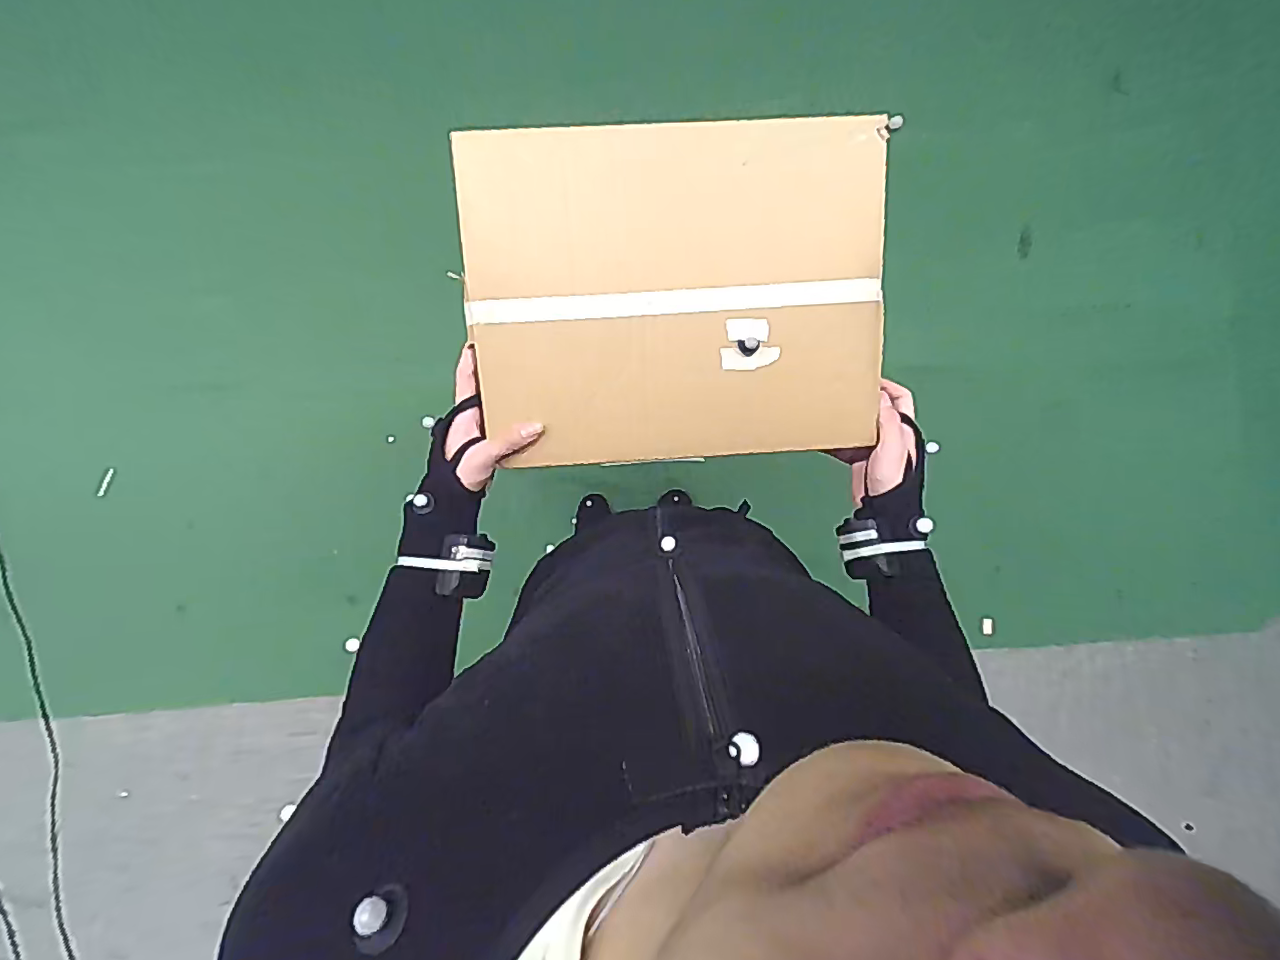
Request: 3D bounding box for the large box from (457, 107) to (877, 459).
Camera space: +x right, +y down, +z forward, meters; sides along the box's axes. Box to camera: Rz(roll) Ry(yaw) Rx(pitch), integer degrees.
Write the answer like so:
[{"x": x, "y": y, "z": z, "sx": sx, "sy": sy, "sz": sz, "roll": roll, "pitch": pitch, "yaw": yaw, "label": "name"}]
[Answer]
[{"x": 0.028, "y": -0.217, "z": 0.680, "sx": 0.408, "sy": 0.320, "sz": 0.320, "roll": -4, "pitch": 103, "yaw": -3, "label": "large box"}]
